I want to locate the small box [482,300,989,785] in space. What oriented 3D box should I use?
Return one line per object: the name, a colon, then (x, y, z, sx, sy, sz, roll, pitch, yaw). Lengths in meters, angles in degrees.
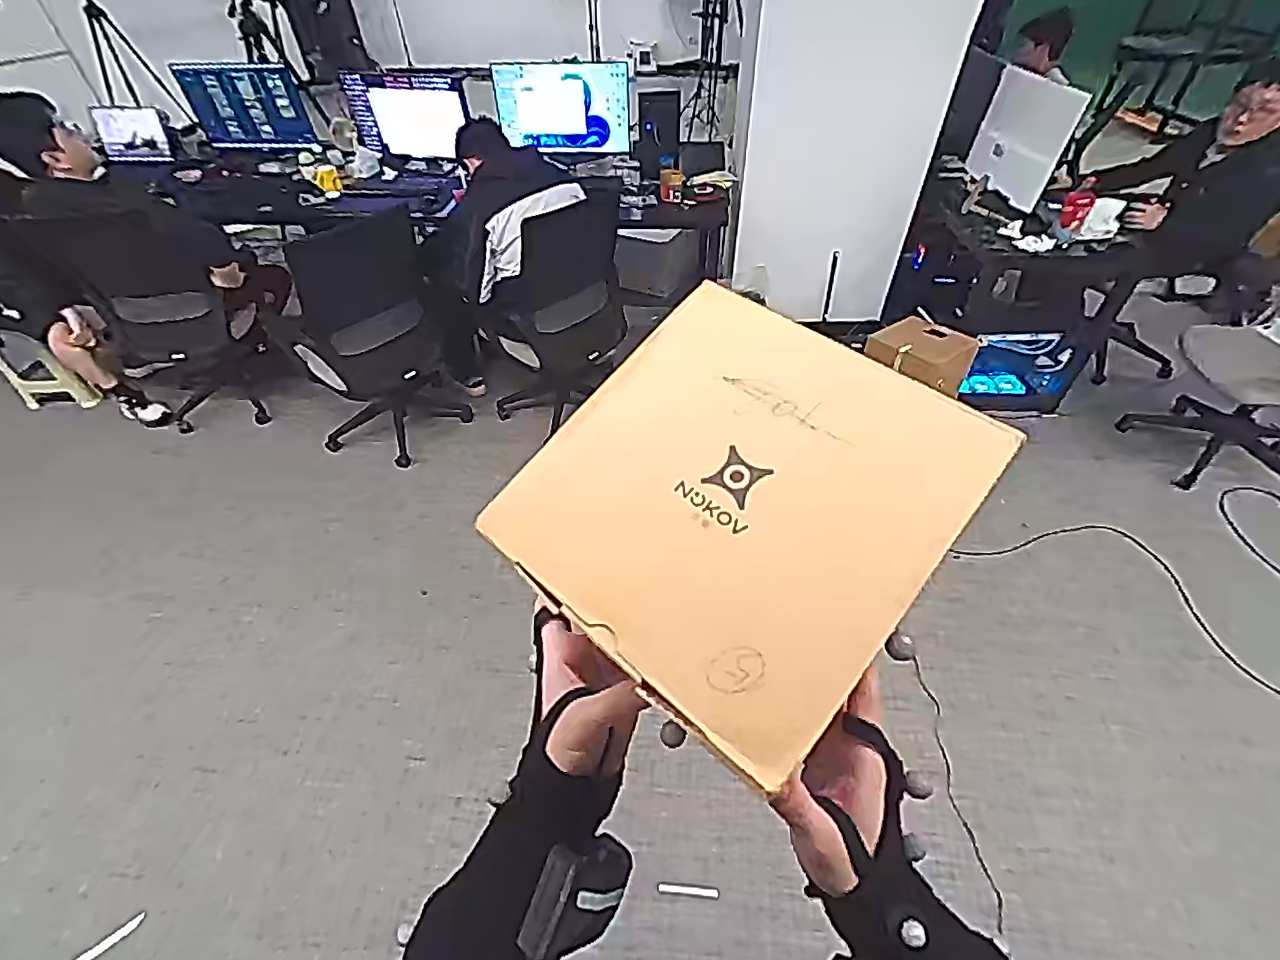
small box: (0.051, 0.041, 0.316, 0.168, 0.176, 0.179, 36, 76, 23)
